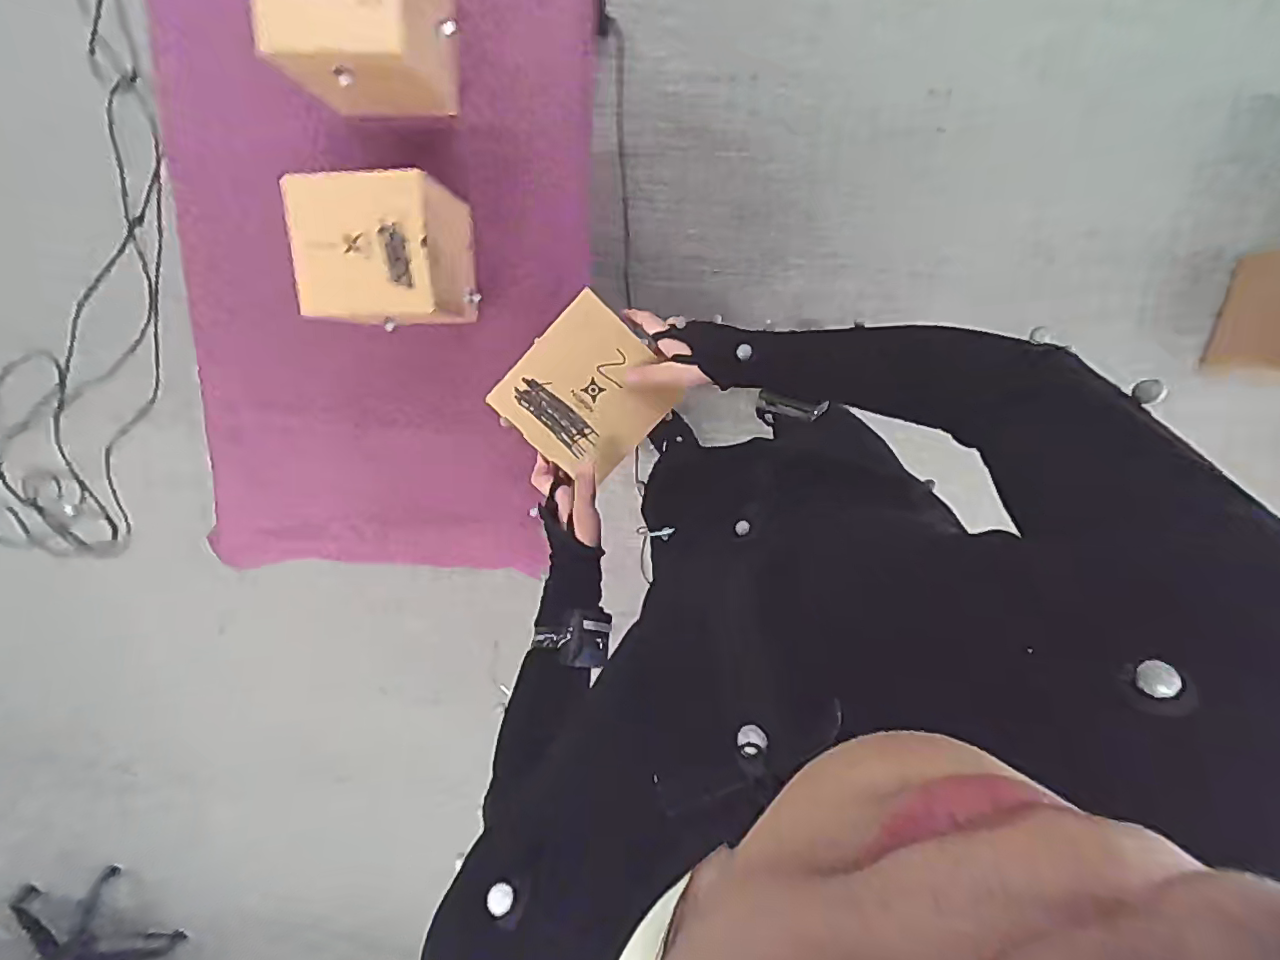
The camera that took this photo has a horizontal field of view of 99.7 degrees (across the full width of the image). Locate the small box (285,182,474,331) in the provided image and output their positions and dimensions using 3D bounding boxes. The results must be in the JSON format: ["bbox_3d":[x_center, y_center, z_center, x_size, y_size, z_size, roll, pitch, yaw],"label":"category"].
[{"bbox_3d":[-0.341,-0.298,0.749,0.179,0.176,0.168,0,102,4],"label":"small box"}]

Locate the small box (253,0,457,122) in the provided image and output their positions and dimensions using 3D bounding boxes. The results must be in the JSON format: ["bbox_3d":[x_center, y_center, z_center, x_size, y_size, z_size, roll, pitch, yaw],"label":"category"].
[{"bbox_3d":[-0.351,-0.578,0.686,0.179,0.176,0.168,2,103,3],"label":"small box"}]
